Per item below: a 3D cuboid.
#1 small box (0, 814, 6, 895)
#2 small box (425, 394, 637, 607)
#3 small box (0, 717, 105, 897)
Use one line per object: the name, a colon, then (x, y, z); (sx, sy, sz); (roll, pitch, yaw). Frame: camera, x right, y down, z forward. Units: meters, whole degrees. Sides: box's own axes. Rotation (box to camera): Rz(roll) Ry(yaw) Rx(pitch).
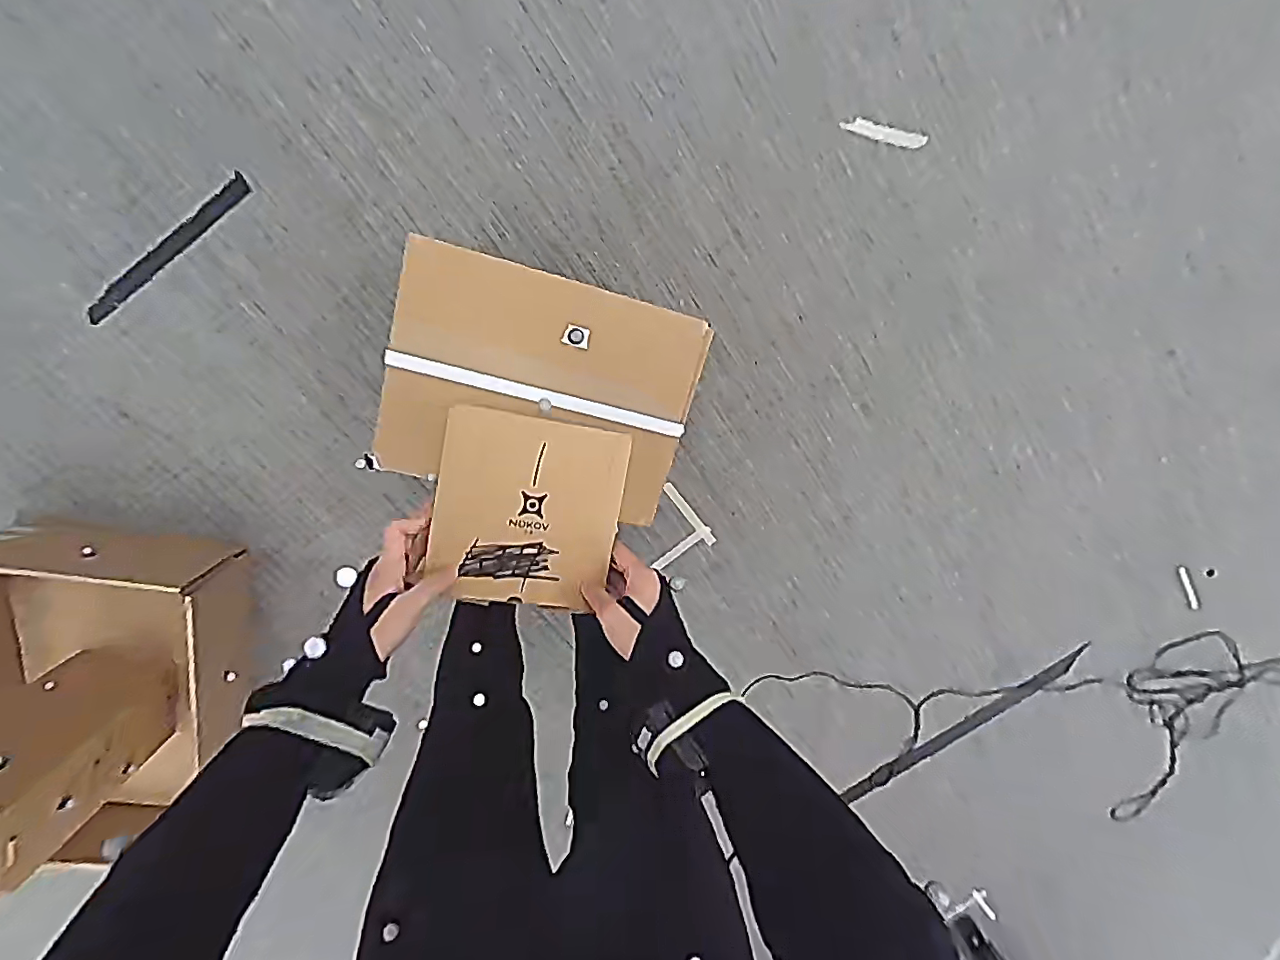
small box: (-0.973, 0.531, 0.673); (0.179, 0.176, 0.168); (12, 104, -9)
small box: (-0.116, 0.012, 0.568); (0.168, 0.176, 0.179); (10, 96, -16)
small box: (-0.983, 0.493, 0.832); (0.179, 0.176, 0.168); (13, 104, -10)
